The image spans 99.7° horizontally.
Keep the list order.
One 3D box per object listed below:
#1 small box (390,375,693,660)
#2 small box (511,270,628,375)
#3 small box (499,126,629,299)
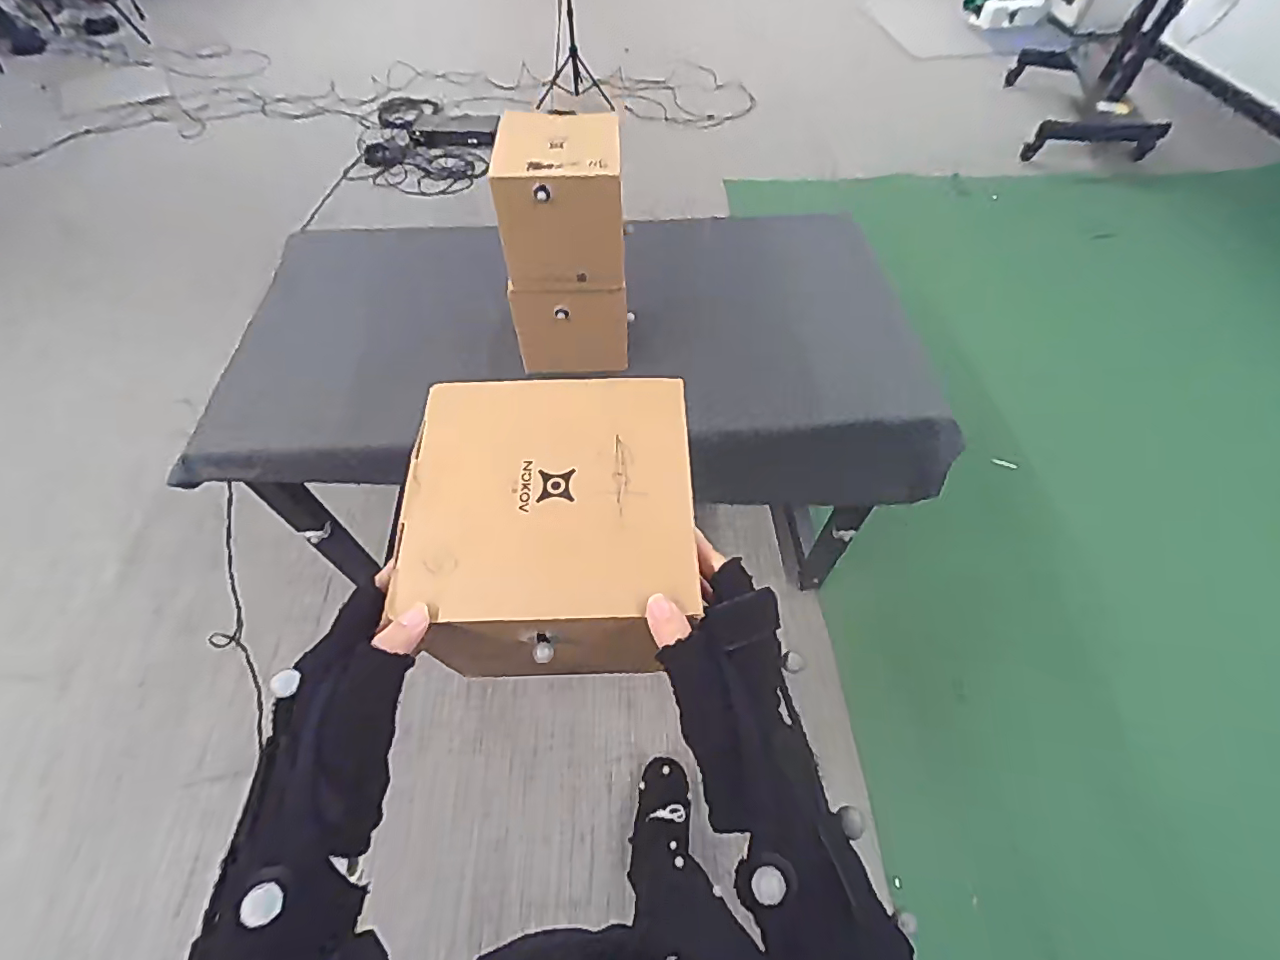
[{"bbox_3d":[-0.057,0.038,0.414,0.179,0.176,0.168,-1,61,-1],"label":"small box"},{"bbox_3d":[-0.110,-0.293,0.922,0.179,0.176,0.168,-2,55,-2],"label":"small box"},{"bbox_3d":[-0.104,-0.389,0.793,0.168,0.176,0.179,-3,56,-4],"label":"small box"}]
